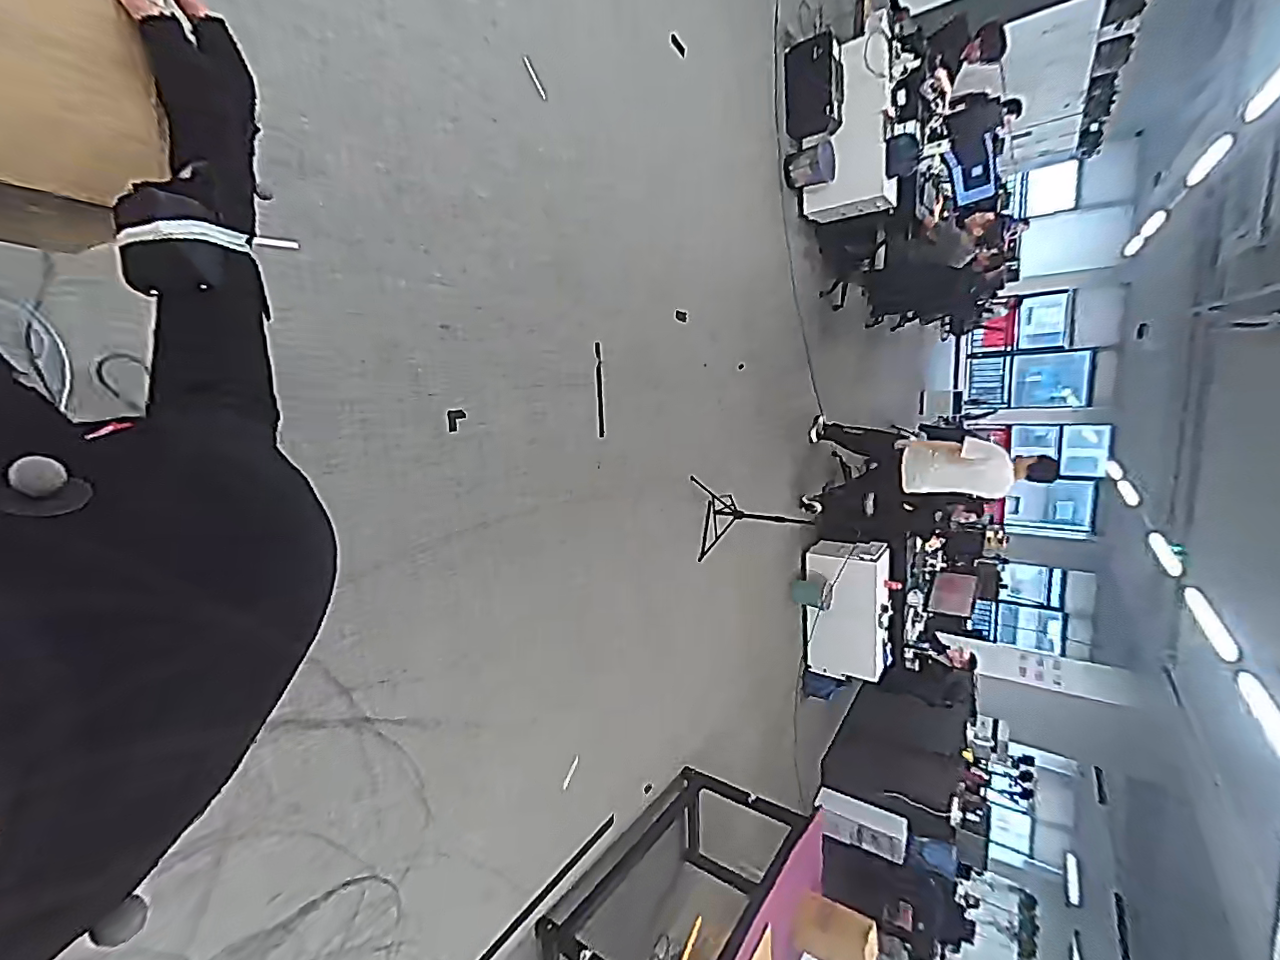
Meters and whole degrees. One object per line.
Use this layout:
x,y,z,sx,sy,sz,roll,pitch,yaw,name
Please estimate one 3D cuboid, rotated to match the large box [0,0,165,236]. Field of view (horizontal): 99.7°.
-0.593,-0.367,0.314,0.408,0.320,0.320,-8,107,-56,large box
